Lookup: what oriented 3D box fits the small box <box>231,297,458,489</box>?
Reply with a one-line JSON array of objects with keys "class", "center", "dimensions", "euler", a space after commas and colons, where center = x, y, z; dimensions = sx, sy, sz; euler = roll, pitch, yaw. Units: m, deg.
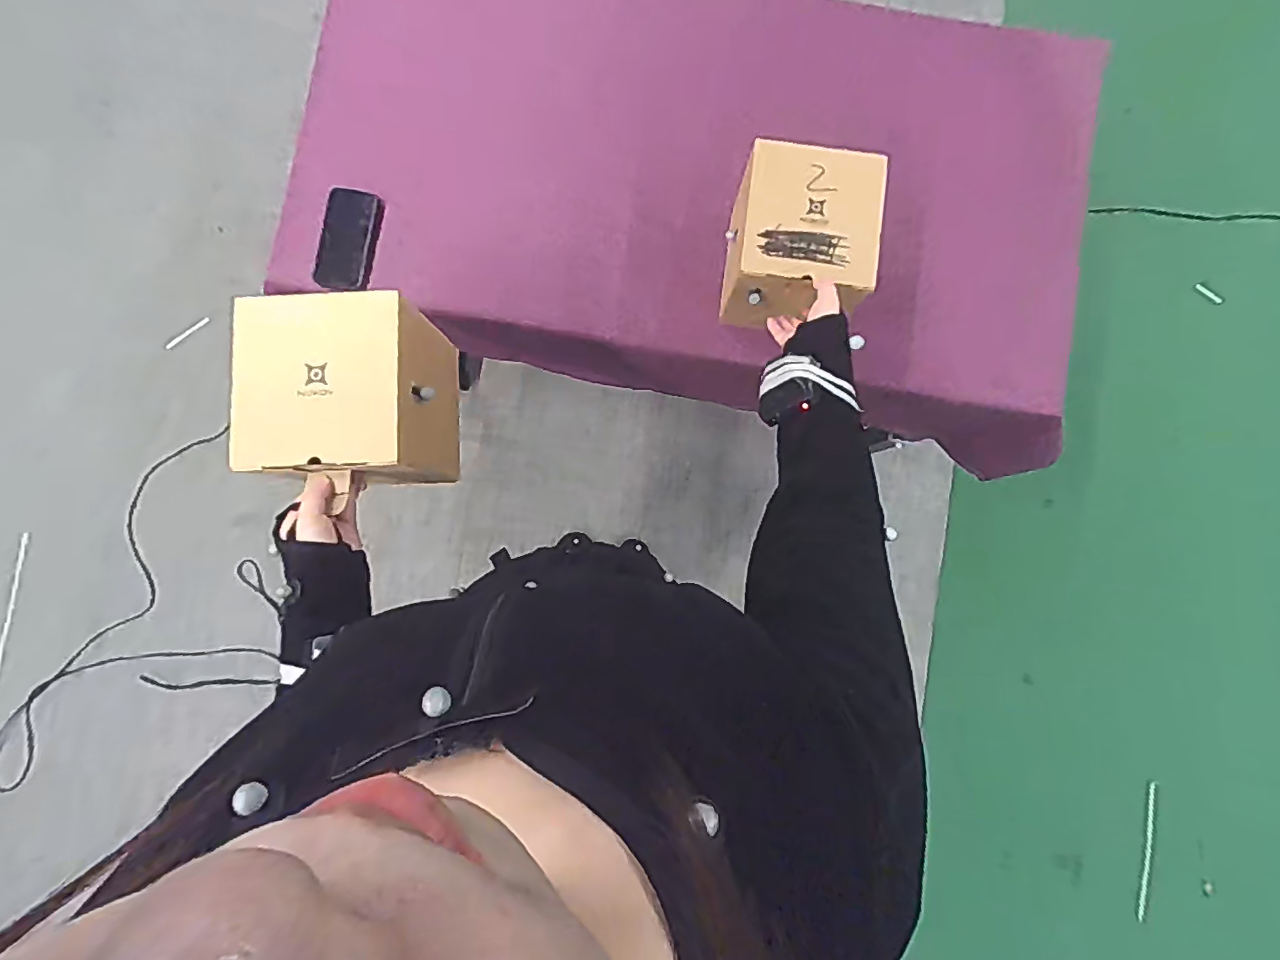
[{"class": "small box", "center": [-0.312, -0.086, 0.606], "dimensions": [0.168, 0.176, 0.179], "euler": [-2, 85, 0]}]
